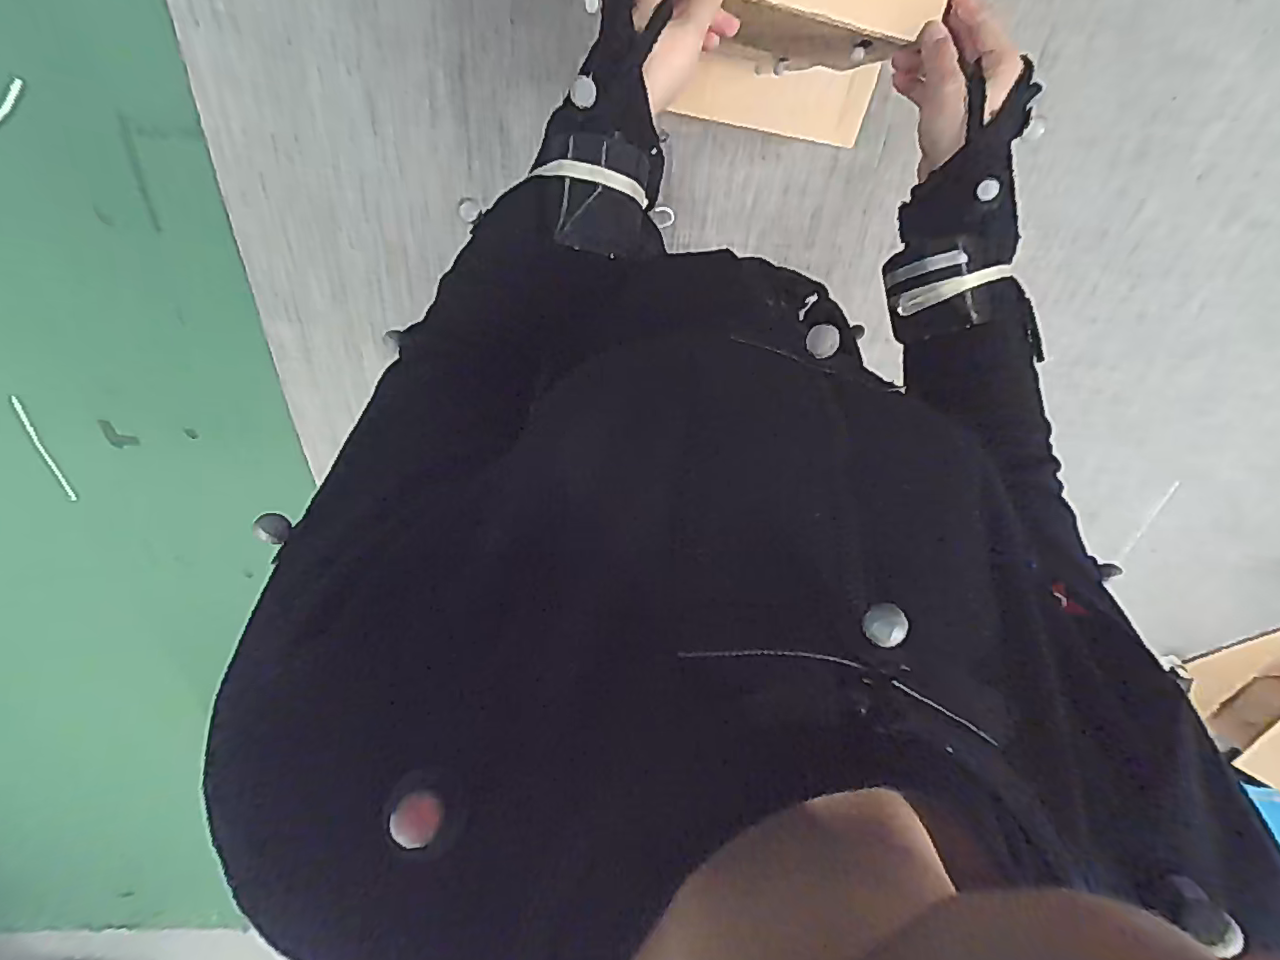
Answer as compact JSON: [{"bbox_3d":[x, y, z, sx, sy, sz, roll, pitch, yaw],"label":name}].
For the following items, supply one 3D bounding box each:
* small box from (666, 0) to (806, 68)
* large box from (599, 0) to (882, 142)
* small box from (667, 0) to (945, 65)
[{"bbox_3d":[0.123,-0.520,0.518,0.168,0.176,0.179,5,122,-9],"label":"small box"},{"bbox_3d":[0.147,-0.750,0.856,0.408,0.320,0.320,5,124,-8],"label":"large box"},{"bbox_3d":[0.124,-0.421,0.387,0.179,0.176,0.168,6,122,-10],"label":"small box"}]
